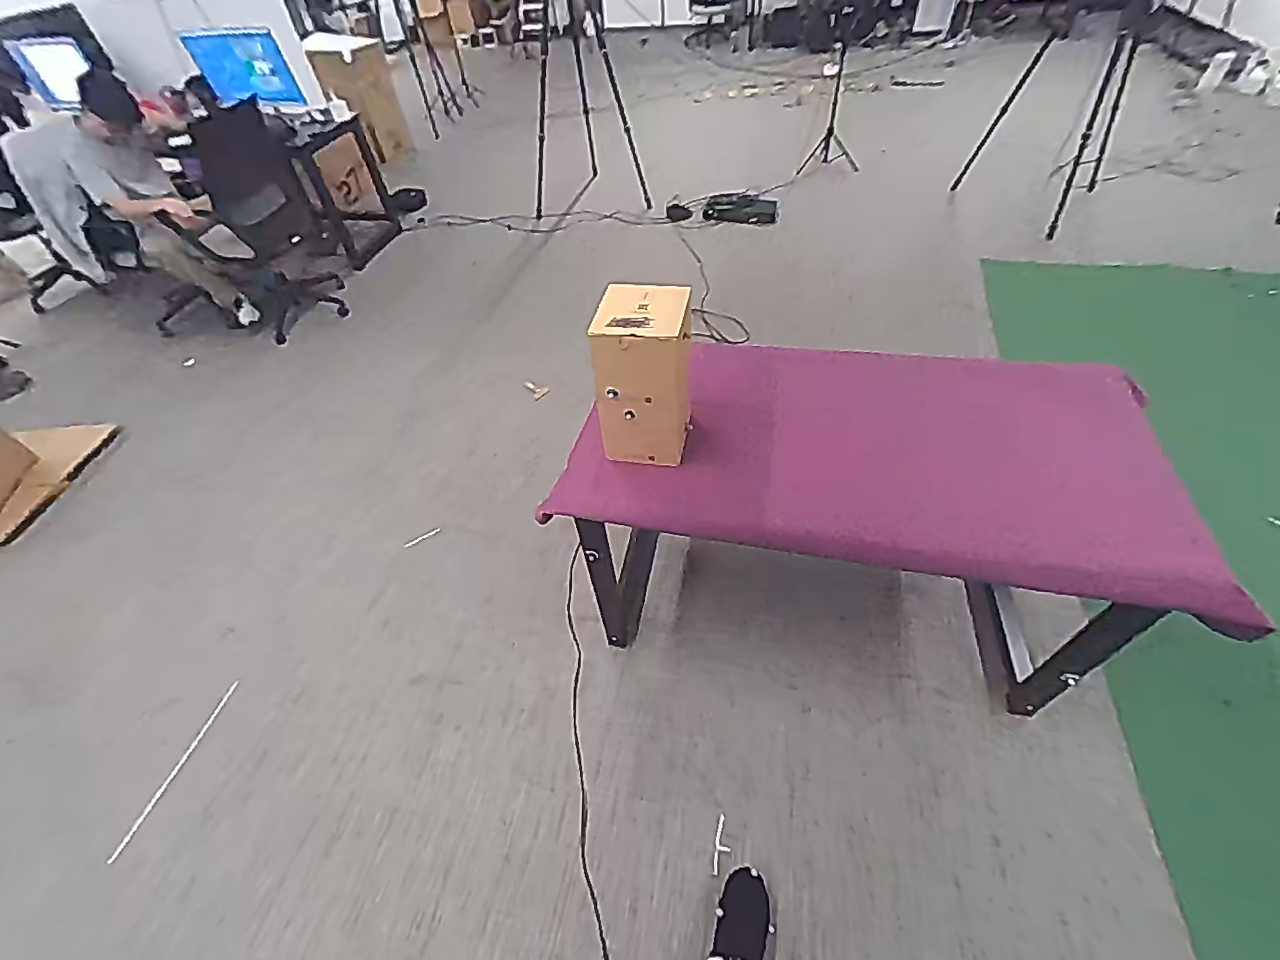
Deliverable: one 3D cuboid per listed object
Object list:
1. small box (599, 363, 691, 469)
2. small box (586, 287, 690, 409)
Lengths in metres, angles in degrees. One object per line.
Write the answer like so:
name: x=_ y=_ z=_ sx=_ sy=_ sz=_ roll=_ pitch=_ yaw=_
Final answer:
small box: x=0.017 y=-0.148 z=1.186 sx=0.168 sy=0.176 sz=0.179 roll=6 pitch=48 yaw=11
small box: x=0.006 y=-0.257 z=1.063 sx=0.168 sy=0.176 sz=0.179 roll=6 pitch=49 yaw=11
